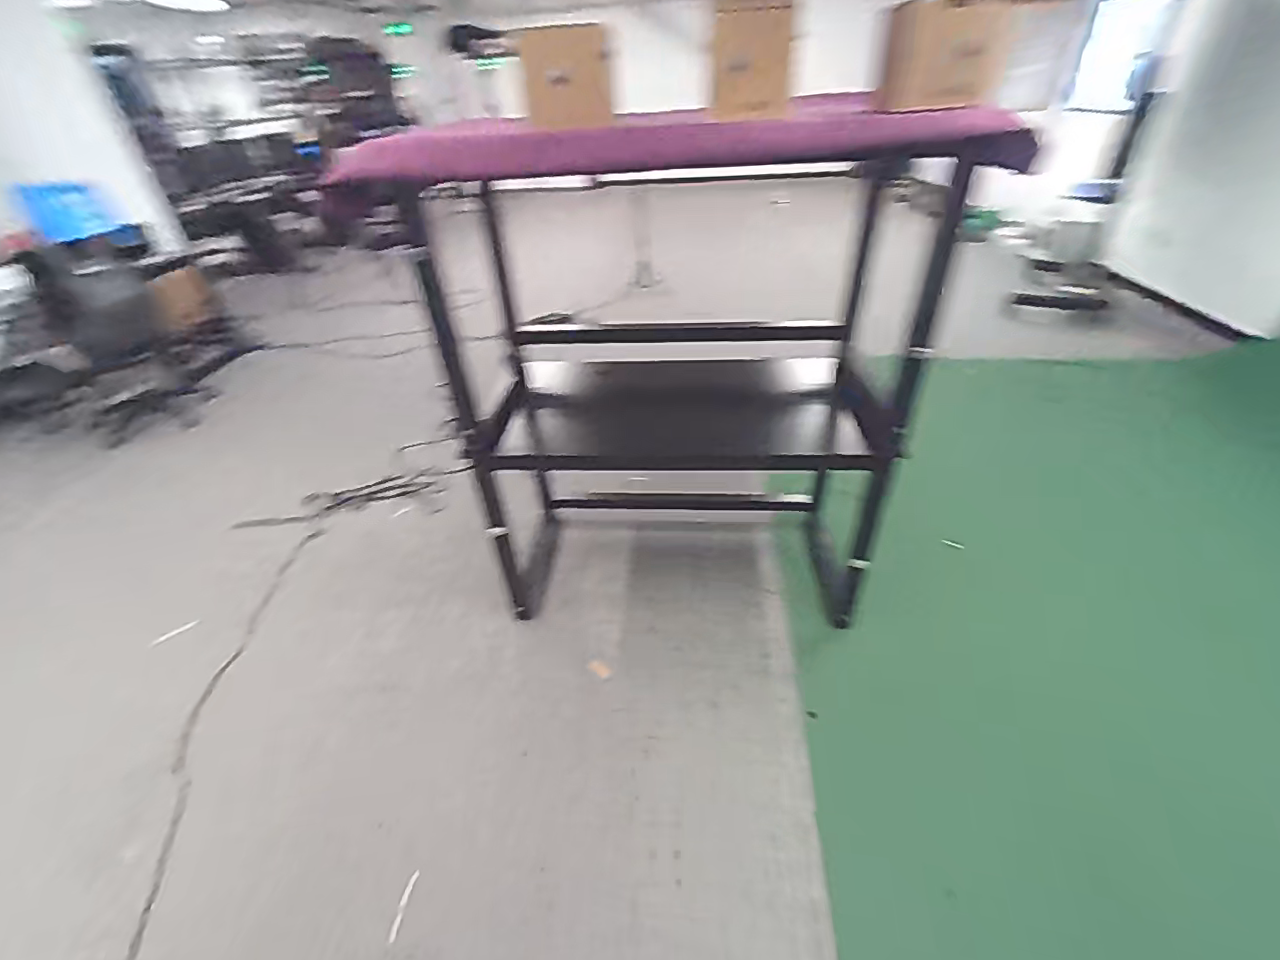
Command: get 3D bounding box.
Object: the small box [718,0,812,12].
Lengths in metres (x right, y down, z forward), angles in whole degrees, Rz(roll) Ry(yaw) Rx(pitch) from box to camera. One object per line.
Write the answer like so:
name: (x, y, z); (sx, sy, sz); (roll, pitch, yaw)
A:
small box: (0.230, -0.940, 0.965); (0.168, 0.176, 0.179); (5, 36, 10)

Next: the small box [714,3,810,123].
small box: (0.235, -0.806, 1.058); (0.168, 0.176, 0.179); (4, 35, 10)

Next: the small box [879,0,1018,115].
small box: (0.576, -0.806, 1.032); (0.168, 0.176, 0.179); (0, 34, 4)
